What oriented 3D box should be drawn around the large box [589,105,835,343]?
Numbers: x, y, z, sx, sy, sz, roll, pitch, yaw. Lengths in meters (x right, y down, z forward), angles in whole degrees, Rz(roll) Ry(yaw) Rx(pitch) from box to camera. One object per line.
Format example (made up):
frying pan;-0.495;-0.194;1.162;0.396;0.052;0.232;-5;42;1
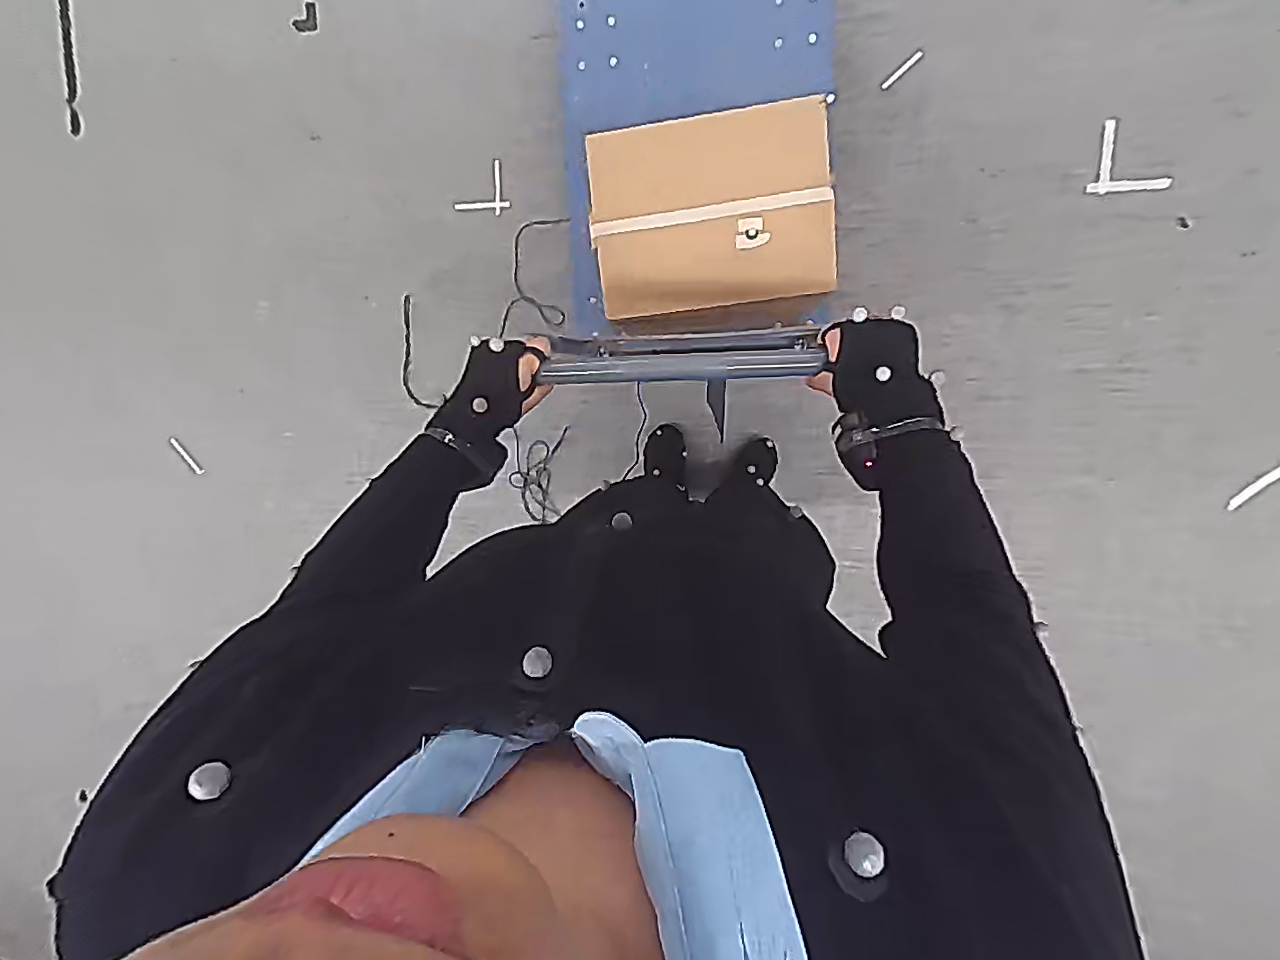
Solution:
large box;0.136;-0.470;1.081;0.408;0.320;0.320;-5;98;6
